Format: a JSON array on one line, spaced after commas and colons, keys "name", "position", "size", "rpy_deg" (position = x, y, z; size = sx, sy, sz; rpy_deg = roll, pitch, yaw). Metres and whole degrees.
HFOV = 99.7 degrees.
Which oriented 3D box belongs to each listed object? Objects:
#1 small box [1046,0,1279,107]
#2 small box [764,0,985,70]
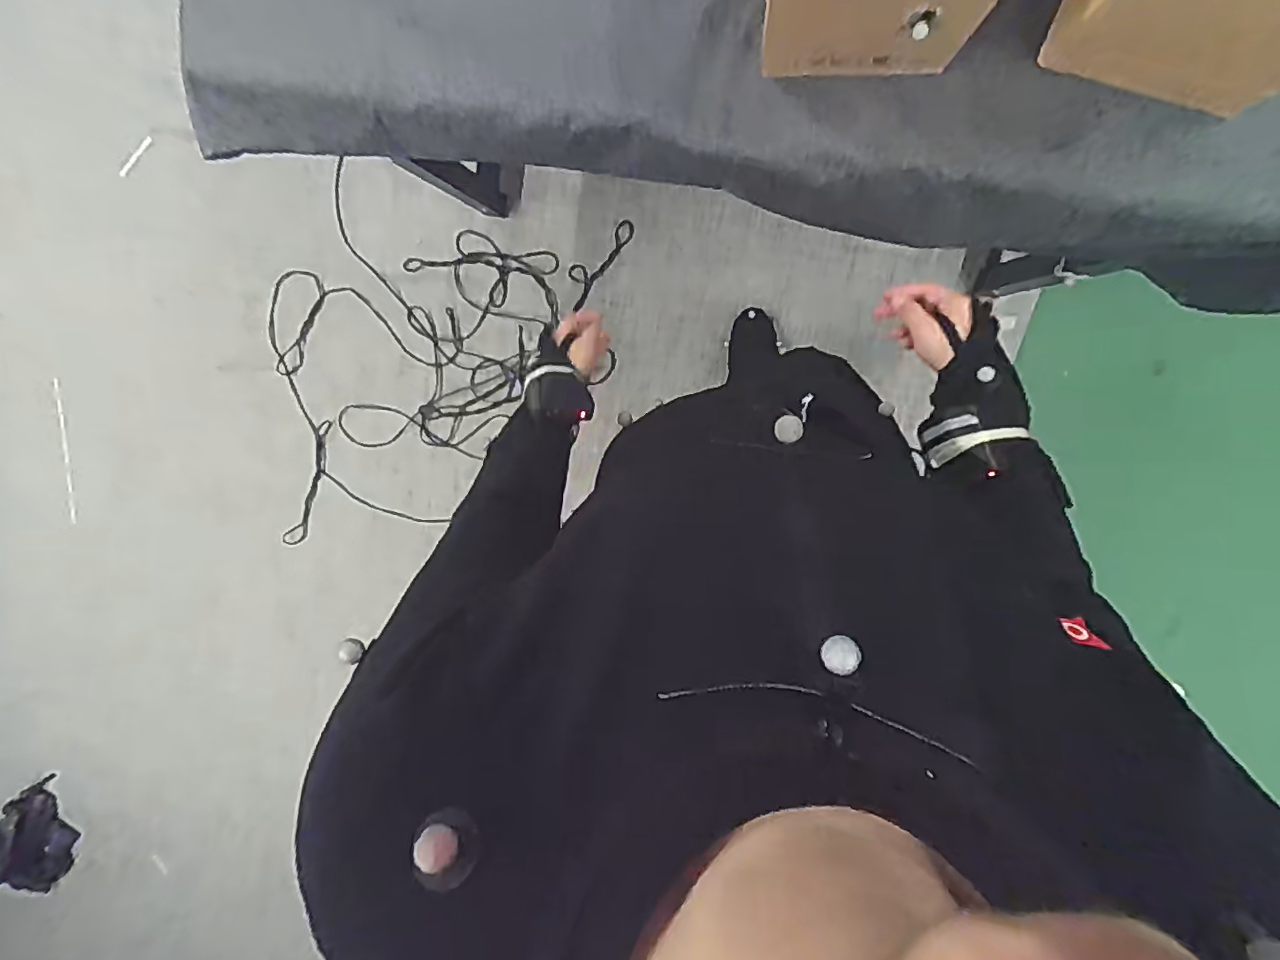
[{"name": "small box", "position": [0.443, -0.401, 0.379], "size": [0.179, 0.176, 0.168], "rpy_deg": [19, 105, 4]}, {"name": "small box", "position": [0.188, -0.445, 0.409], "size": [0.168, 0.176, 0.179], "rpy_deg": [4, 102, 7]}]
